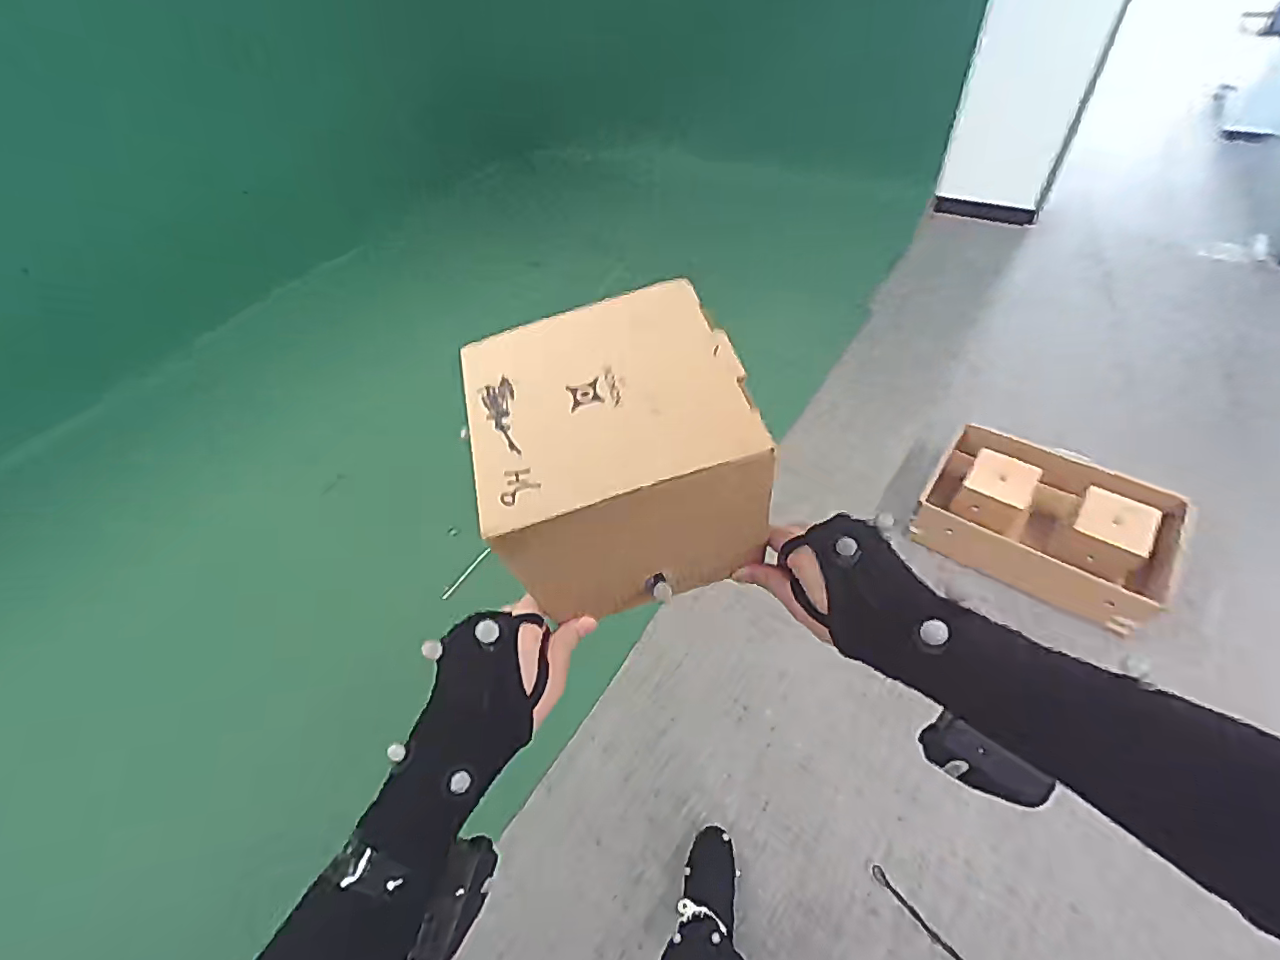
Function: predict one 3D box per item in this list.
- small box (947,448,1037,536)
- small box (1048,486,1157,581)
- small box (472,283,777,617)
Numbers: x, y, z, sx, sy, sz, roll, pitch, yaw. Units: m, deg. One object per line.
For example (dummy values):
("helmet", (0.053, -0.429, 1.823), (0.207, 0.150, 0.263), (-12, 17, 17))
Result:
("small box", (1.076, 0.041, 1.665), (0.168, 0.176, 0.179), (28, 61, 26))
("small box", (1.303, 0.155, 1.536), (0.168, 0.176, 0.179), (29, 62, 27))
("small box", (-0.011, -0.016, 0.419), (0.179, 0.176, 0.168), (-16, 55, -1))
